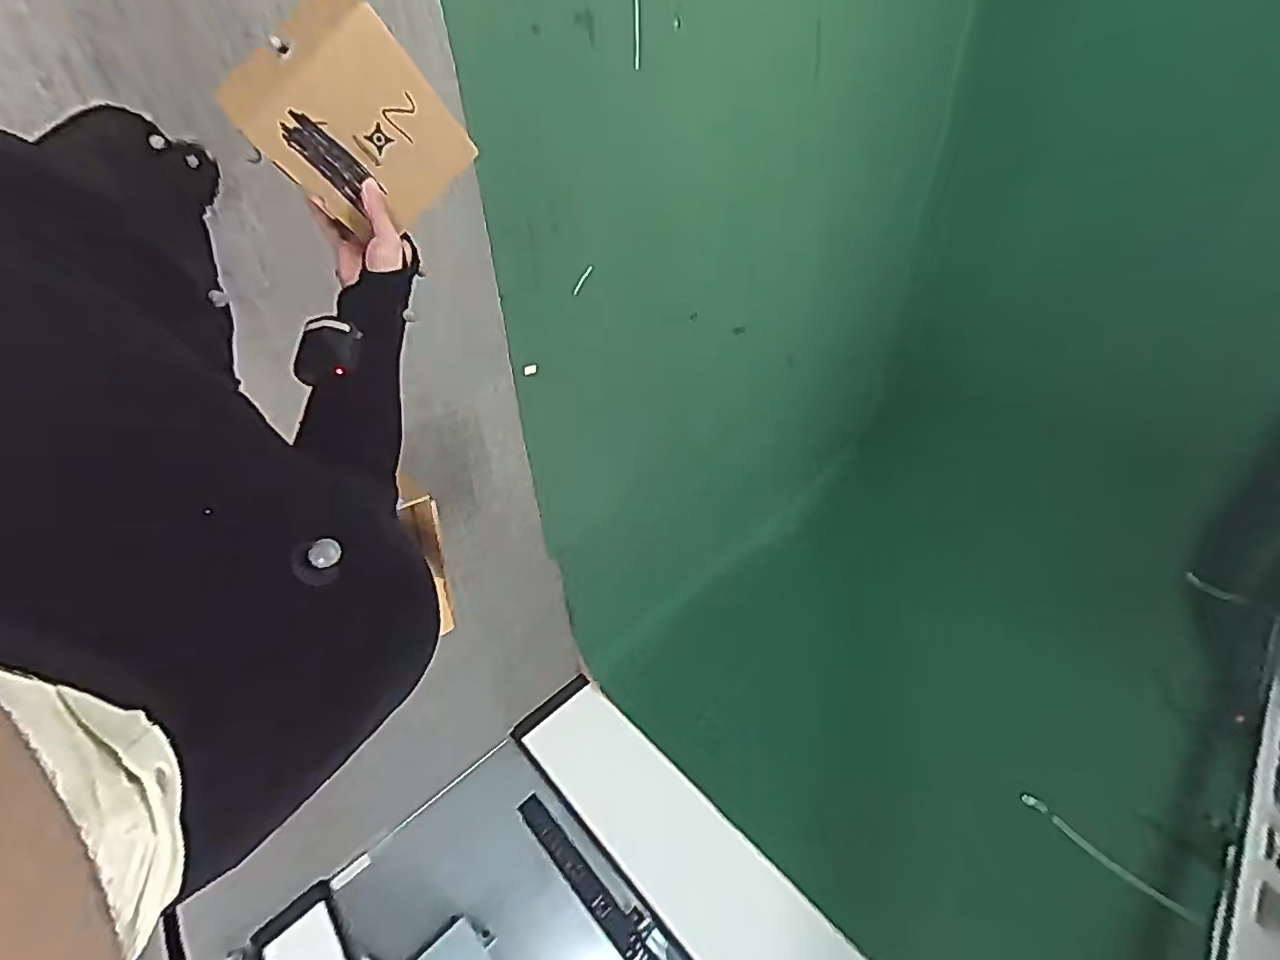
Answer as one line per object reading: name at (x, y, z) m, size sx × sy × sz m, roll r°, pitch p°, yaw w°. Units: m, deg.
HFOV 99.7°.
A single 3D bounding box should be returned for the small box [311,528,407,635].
small box at (-0.697, 0.248, 1.374) m, size 0.179 × 0.176 × 0.168 m, roll -26°, pitch 132°, yaw -35°
